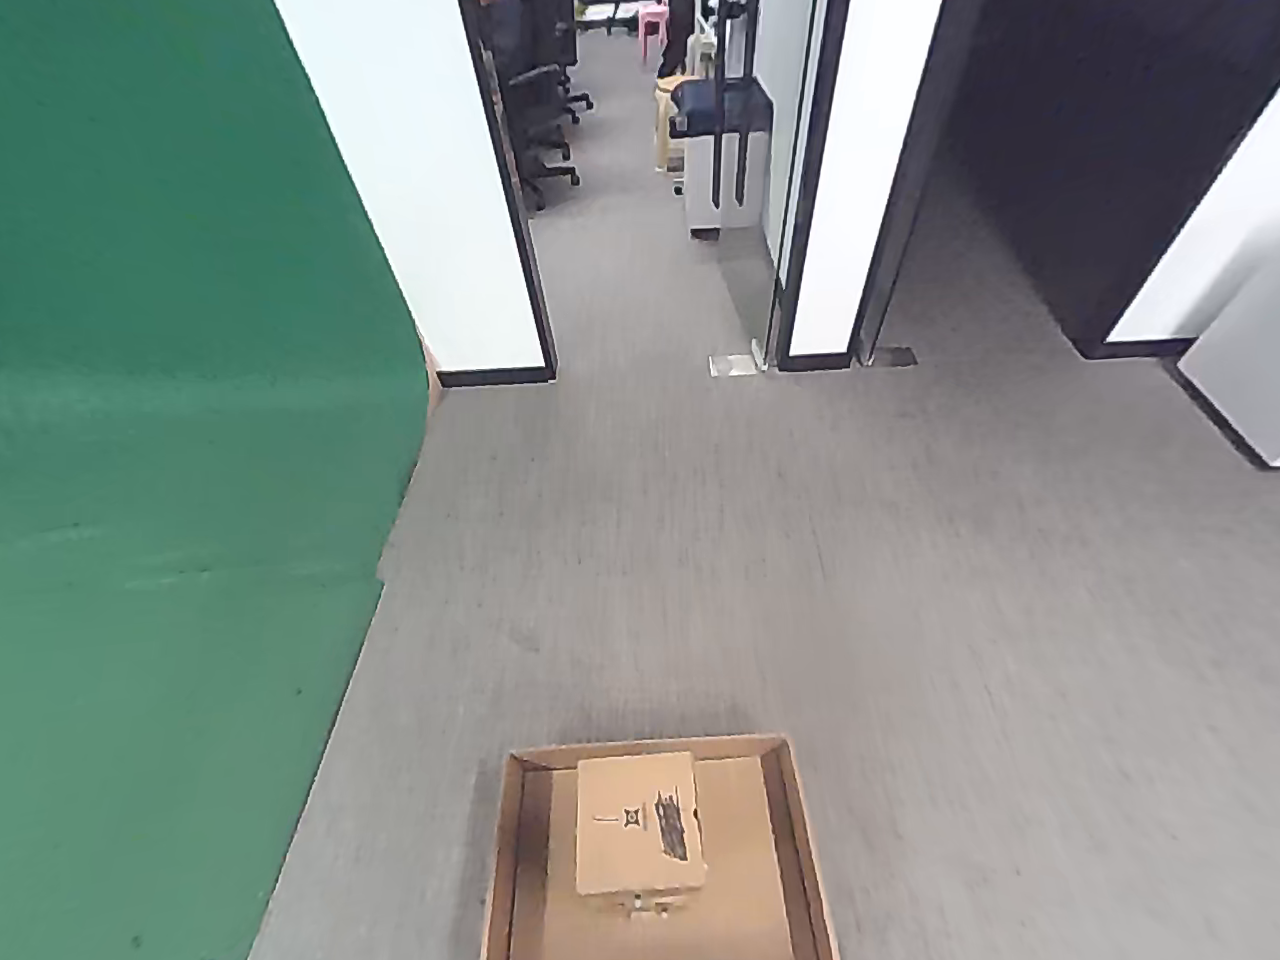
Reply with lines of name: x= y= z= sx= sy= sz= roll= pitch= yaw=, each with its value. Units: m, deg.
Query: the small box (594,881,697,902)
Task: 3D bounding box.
small box: x=0.010 y=0.624 z=0.949 sx=0.168 sy=0.176 sz=0.179 roll=-6 pitch=50 yaw=0

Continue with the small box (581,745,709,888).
small box: x=0.007 y=0.525 z=0.839 sx=0.179 sy=0.176 sz=0.168 roll=-5 pitch=50 yaw=1
